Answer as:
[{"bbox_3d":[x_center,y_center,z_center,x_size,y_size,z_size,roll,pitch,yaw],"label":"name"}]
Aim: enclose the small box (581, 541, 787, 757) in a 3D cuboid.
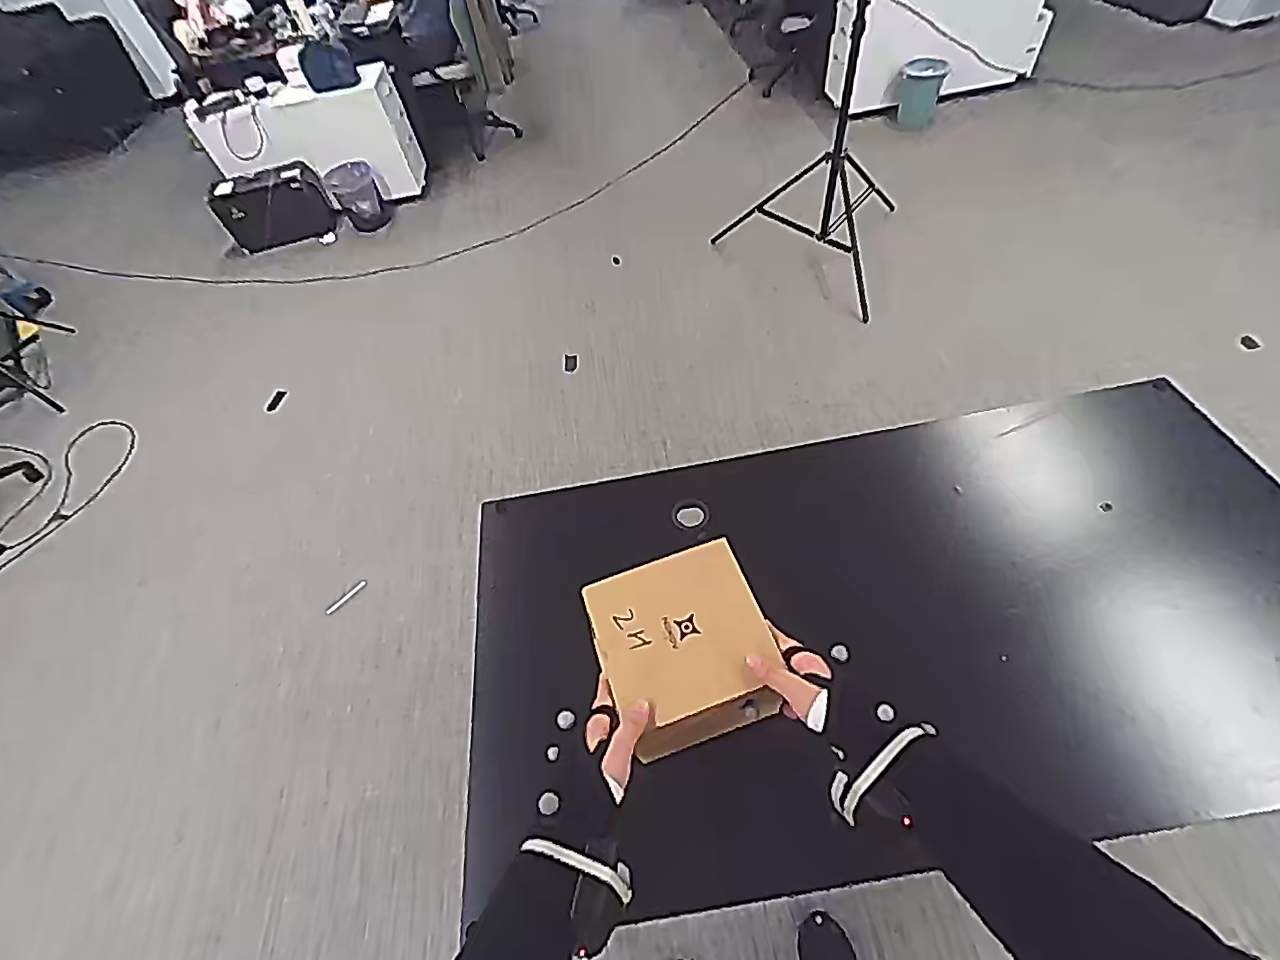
[{"bbox_3d":[0.048,0.200,0.627,0.179,0.176,0.168,-19,56,-4],"label":"small box"}]
